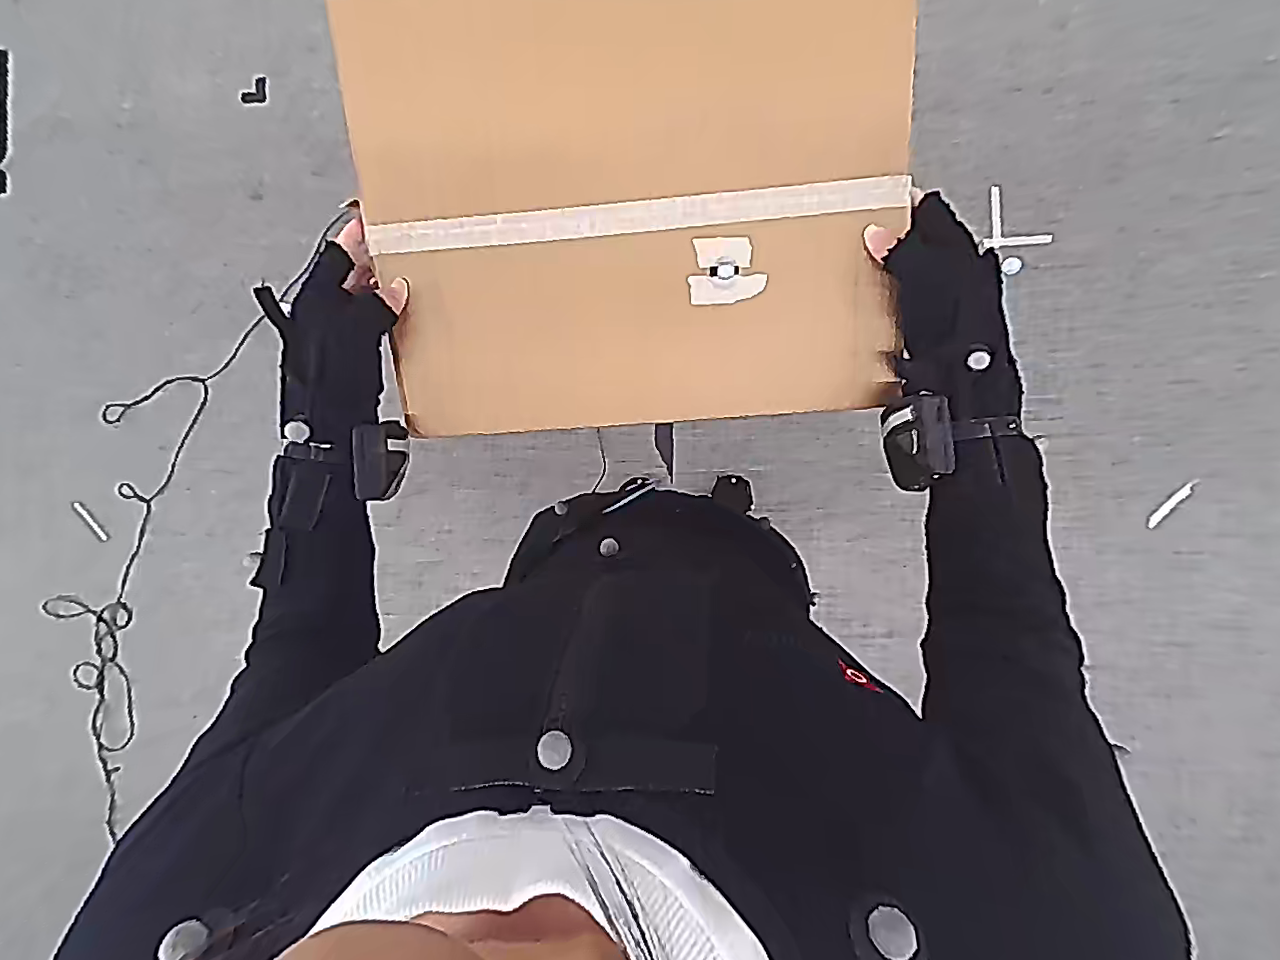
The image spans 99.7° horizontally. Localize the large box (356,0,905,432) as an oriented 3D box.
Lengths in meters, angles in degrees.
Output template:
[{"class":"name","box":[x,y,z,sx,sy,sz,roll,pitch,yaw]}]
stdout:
[{"class":"large box","box":[0.003,-0.242,0.565,0.408,0.320,0.320,-4,105,3]}]
